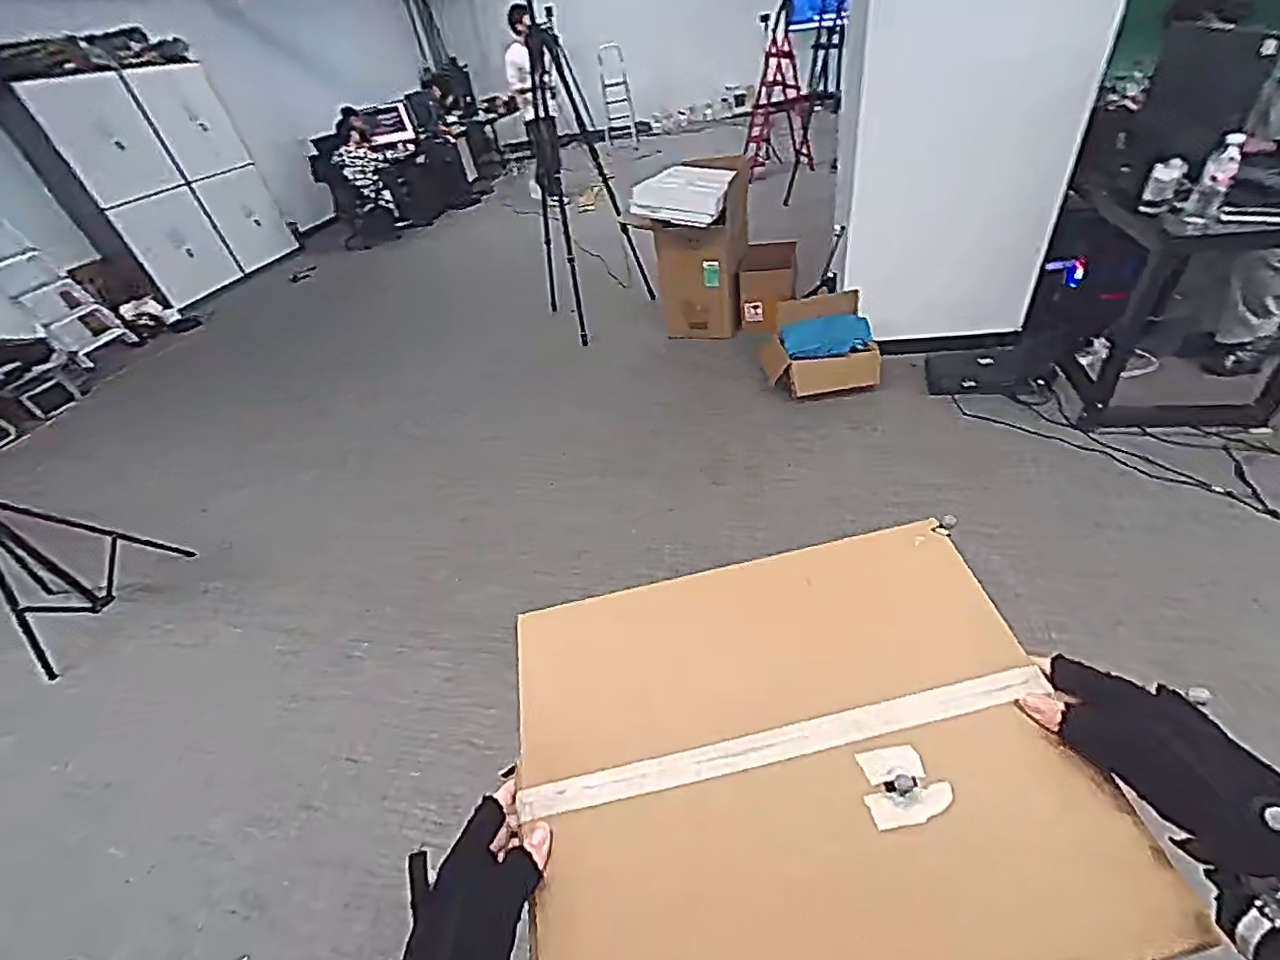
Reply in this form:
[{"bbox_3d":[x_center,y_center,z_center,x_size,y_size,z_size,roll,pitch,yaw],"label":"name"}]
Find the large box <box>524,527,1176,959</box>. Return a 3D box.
[{"bbox_3d":[0.130,0.299,0.534,0.408,0.320,0.320,-13,50,-2],"label":"large box"}]
